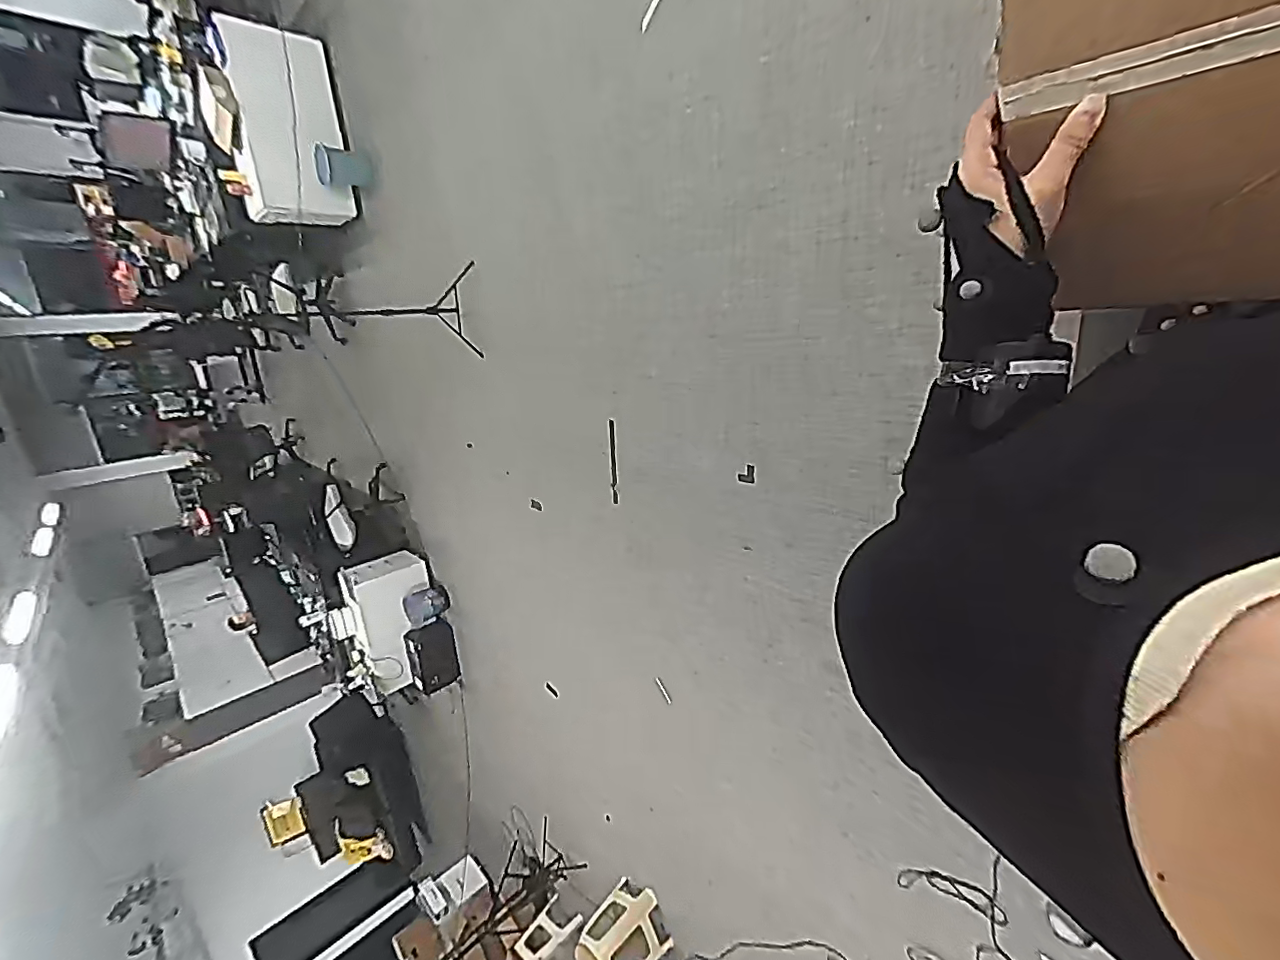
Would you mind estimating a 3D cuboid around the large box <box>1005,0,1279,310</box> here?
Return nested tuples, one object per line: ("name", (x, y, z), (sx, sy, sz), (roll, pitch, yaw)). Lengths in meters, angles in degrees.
("large box", (0.469, -0.322, 0.283), (0.408, 0.320, 0.320), (13, 144, 45))
